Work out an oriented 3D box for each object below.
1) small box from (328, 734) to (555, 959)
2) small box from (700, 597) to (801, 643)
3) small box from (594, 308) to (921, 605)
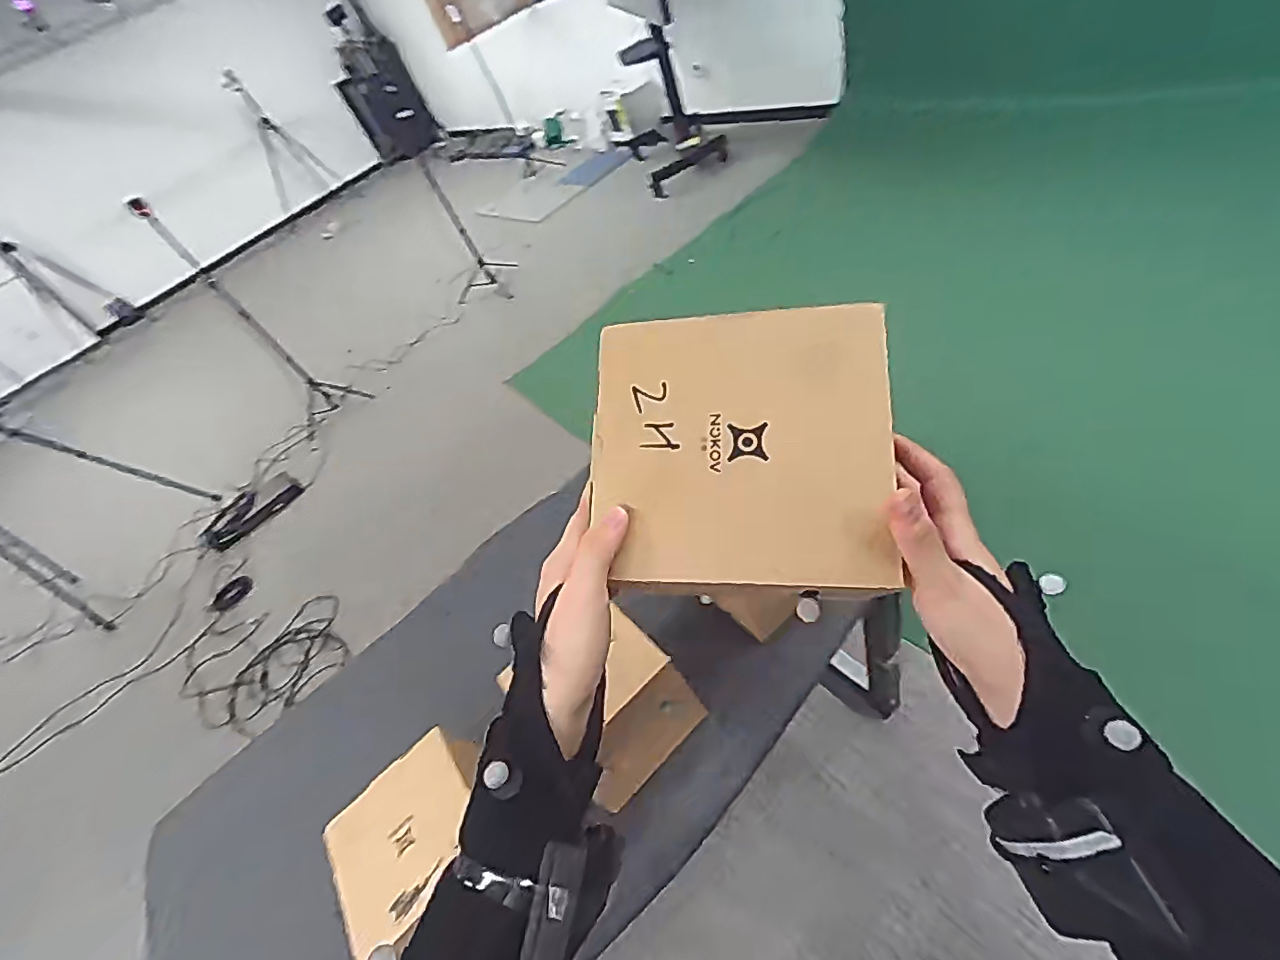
[{"bbox_3d":[-0.237,0.457,0.657,0.168,0.176,0.179,-42,43,-13],"label":"small box"},{"bbox_3d":[0.158,0.099,0.792,0.179,0.176,0.168,-43,42,-14],"label":"small box"},{"bbox_3d":[0.081,0.000,0.384,0.179,0.176,0.168,-1,76,15],"label":"small box"}]
